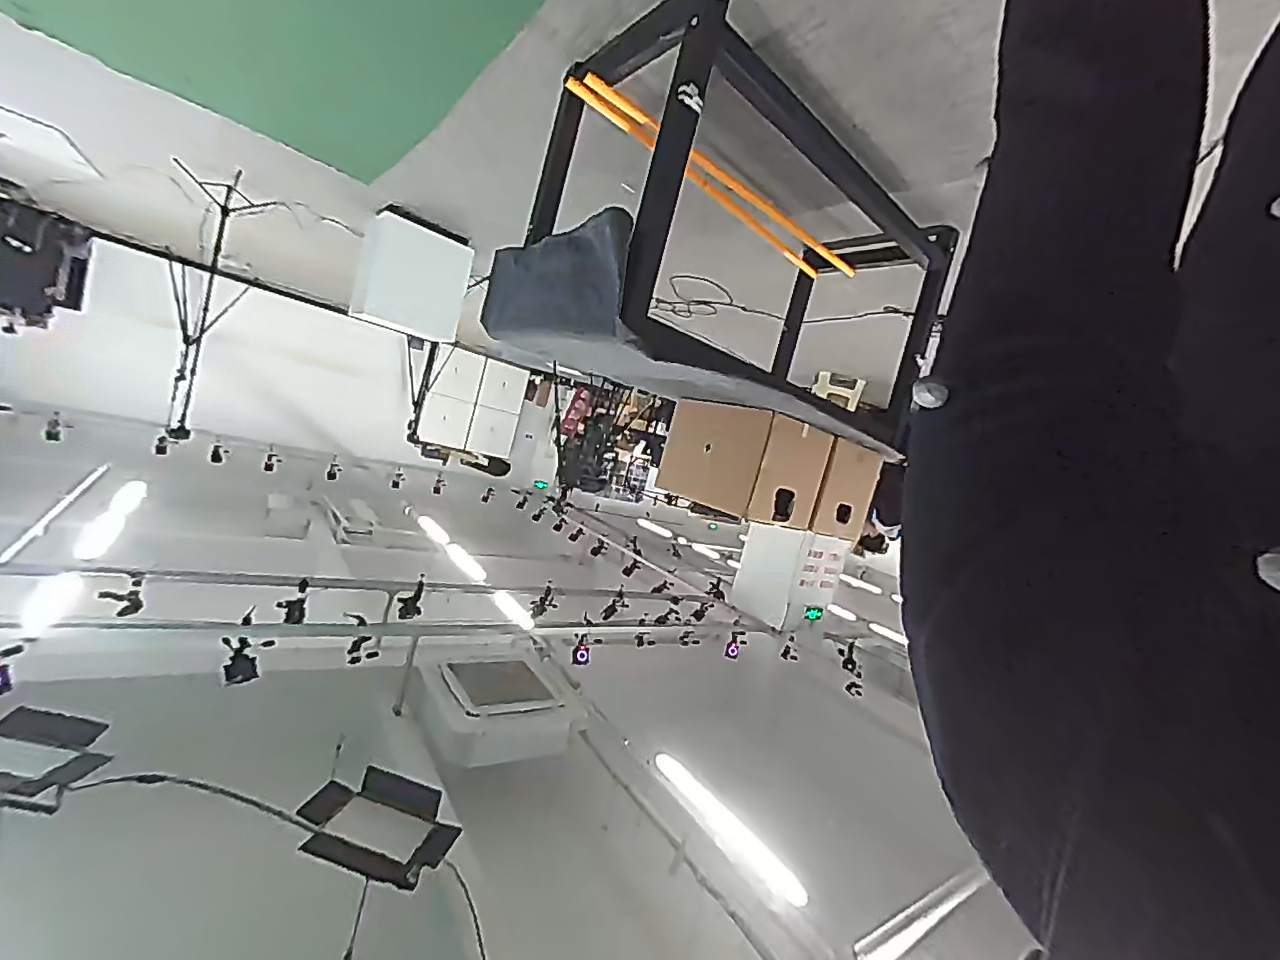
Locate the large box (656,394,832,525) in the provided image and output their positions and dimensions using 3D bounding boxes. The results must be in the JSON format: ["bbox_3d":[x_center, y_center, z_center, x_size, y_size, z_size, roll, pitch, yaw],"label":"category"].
[{"bbox_3d":[0.315,-0.073,1.698,0.320,0.320,0.408,12,-176,-38],"label":"large box"}]
